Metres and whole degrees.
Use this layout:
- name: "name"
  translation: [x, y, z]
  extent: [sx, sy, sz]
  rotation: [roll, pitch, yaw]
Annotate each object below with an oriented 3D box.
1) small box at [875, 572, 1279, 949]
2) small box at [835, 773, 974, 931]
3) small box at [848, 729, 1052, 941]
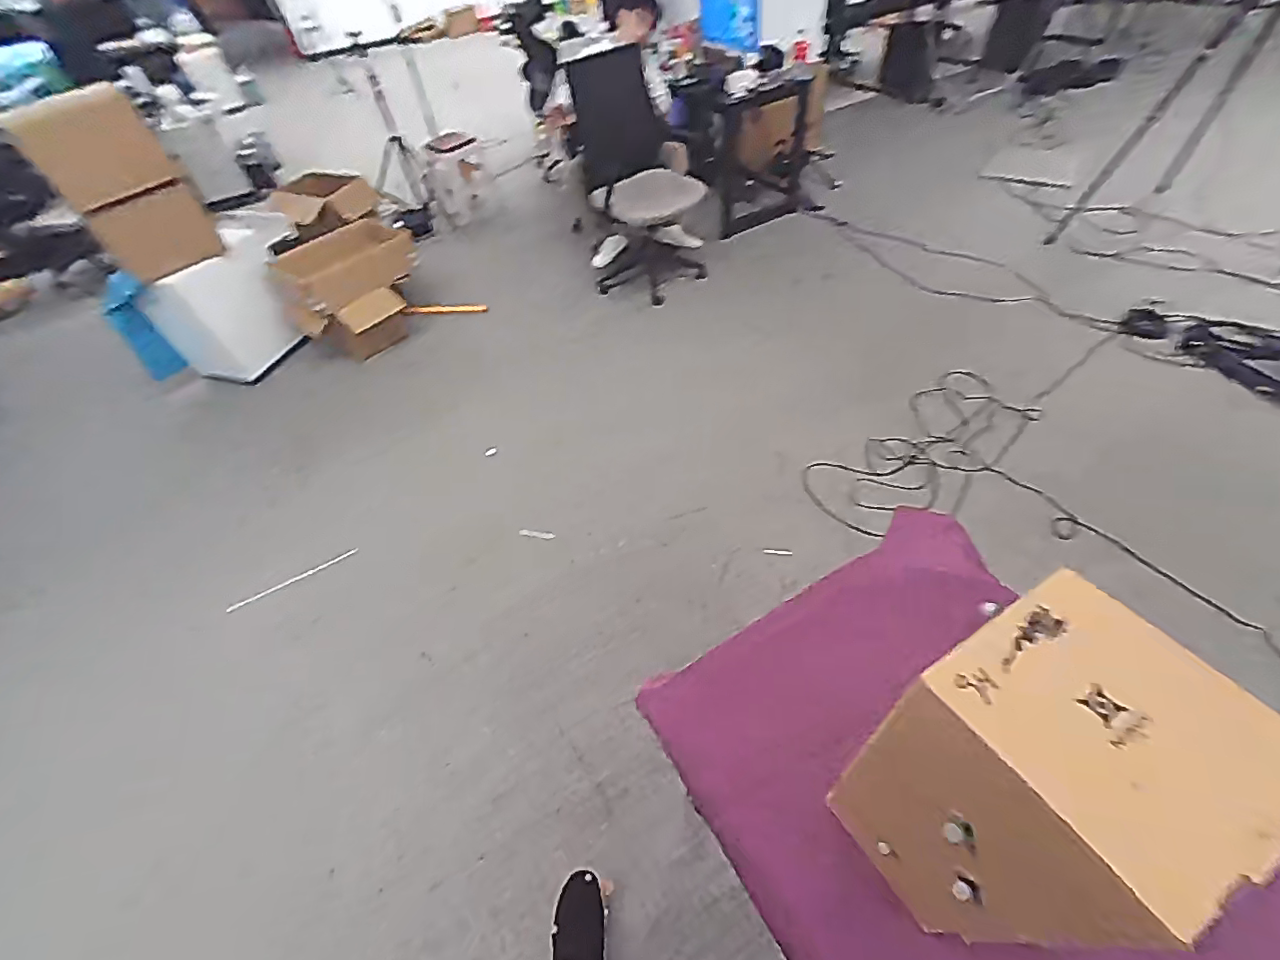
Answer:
- name: "small box"
  translation: [0.320, 0.212, 0.420]
  extent: [0.168, 0.176, 0.179]
  rotation: [-27, 52, -15]
- name: "small box"
  translation: [0.372, 0.414, 0.675]
  extent: [0.168, 0.176, 0.179]
  rotation: [-28, 51, -15]
- name: "small box"
  translation: [0.341, 0.315, 0.545]
  extent: [0.168, 0.176, 0.179]
  rotation: [-27, 50, -14]
